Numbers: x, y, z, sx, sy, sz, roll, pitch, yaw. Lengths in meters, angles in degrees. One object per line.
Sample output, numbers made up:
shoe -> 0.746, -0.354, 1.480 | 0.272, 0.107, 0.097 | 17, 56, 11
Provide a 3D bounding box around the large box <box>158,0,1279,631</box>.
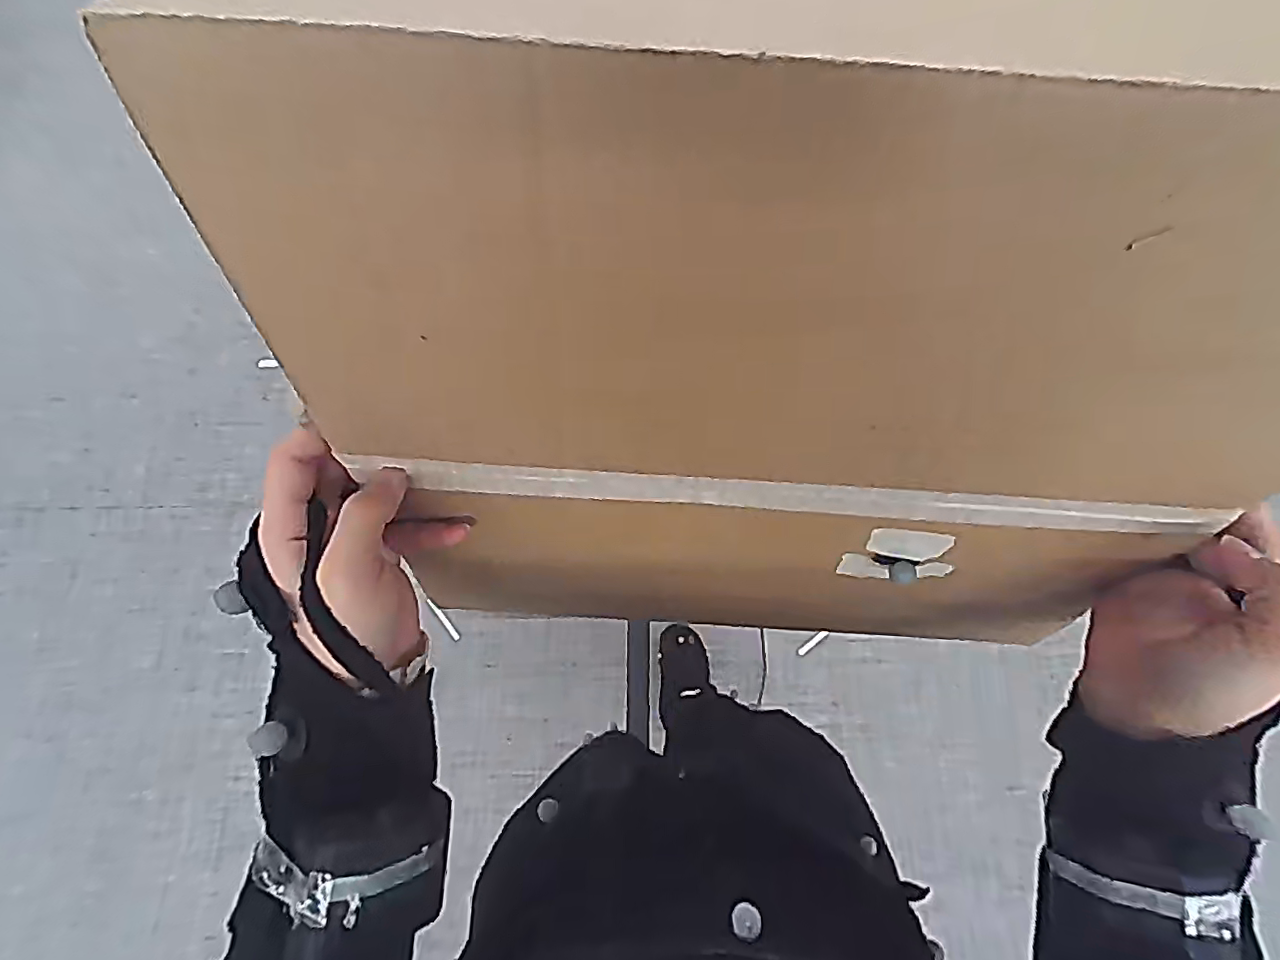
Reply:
large box -> 0.070, -0.114, 0.345 | 0.408, 0.320, 0.320 | 2, 53, 0
